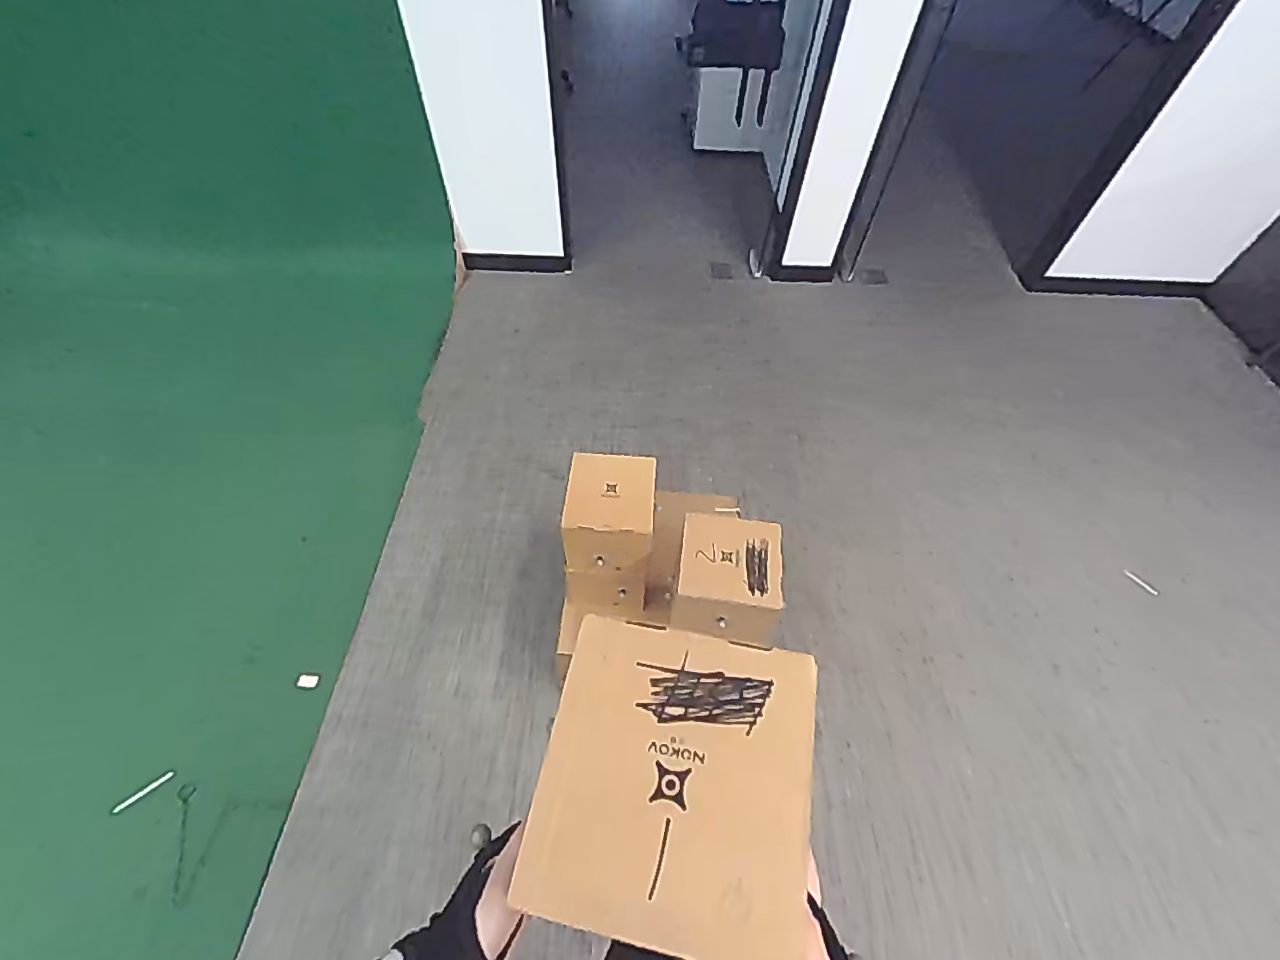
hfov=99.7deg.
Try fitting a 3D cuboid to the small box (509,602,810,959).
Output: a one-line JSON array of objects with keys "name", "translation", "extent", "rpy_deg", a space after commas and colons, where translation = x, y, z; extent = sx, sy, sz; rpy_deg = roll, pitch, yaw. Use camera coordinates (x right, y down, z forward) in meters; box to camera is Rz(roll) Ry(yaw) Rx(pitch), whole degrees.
[{"name": "small box", "translation": [0.024, 0.216, 0.407], "extent": [0.168, 0.176, 0.179], "rpy_deg": [8, 58, 9]}]

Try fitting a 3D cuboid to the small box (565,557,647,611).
[{"name": "small box", "translation": [-0.065, 0.177, 1.202], "extent": [0.168, 0.176, 0.179], "rpy_deg": [5, 51, 2]}]

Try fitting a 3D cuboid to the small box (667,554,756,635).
[{"name": "small box", "translation": [0.143, 0.280, 1.127], "extent": [0.168, 0.176, 0.179], "rpy_deg": [7, 51, 2]}]

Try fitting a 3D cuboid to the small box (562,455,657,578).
[{"name": "small box", "translation": [-0.057, 0.075, 1.075], "extent": [0.168, 0.176, 0.179], "rpy_deg": [4, 52, 1]}]
